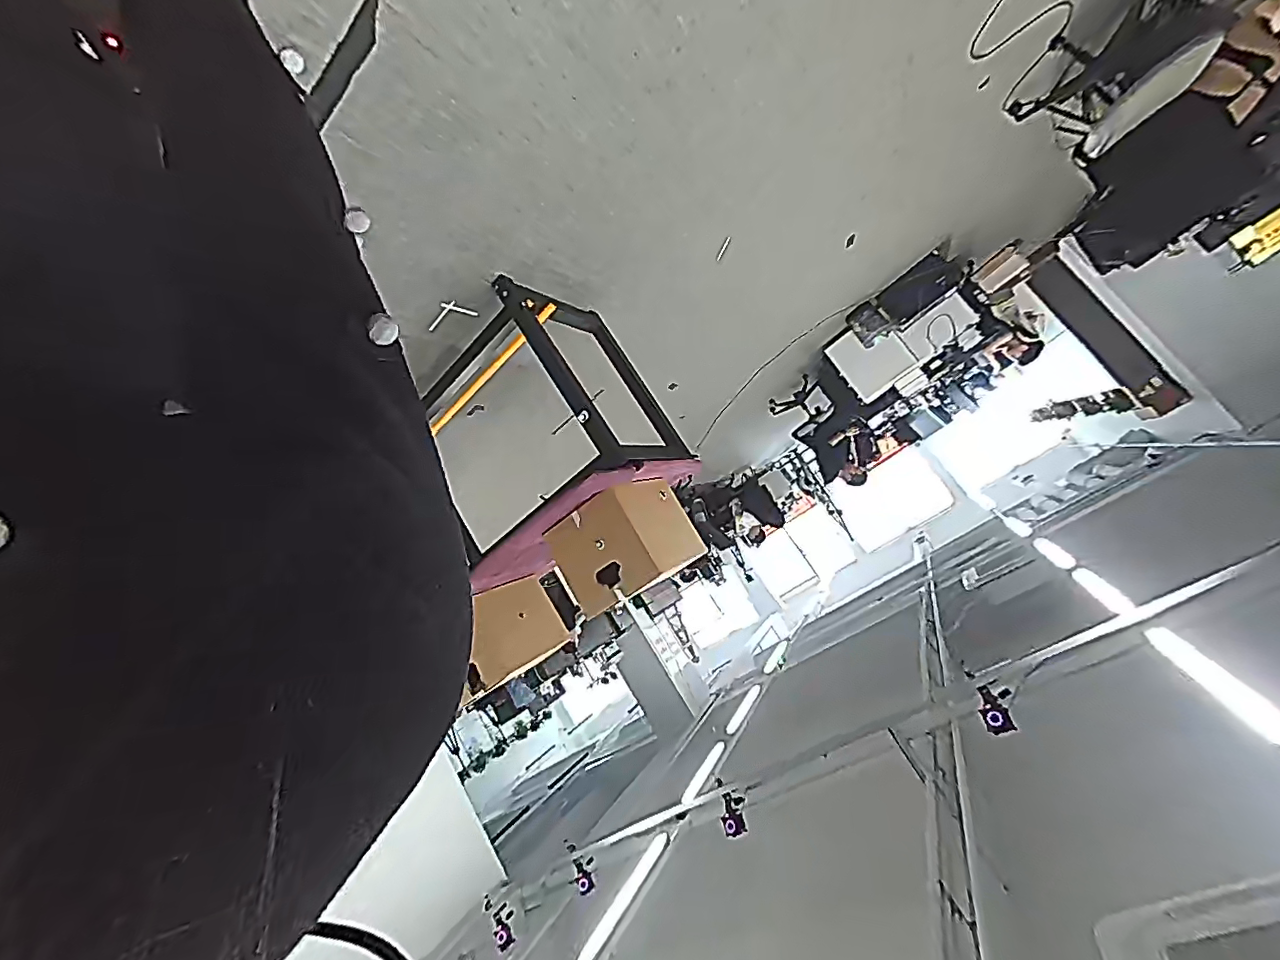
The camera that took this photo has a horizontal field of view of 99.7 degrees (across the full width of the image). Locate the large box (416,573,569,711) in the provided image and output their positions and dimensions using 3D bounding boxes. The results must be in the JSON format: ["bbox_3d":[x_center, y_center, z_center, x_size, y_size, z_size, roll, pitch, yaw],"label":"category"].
[{"bbox_3d":[-0.560,0.602,2.074,0.320,0.320,0.408,-37,168,23],"label":"large box"}]
